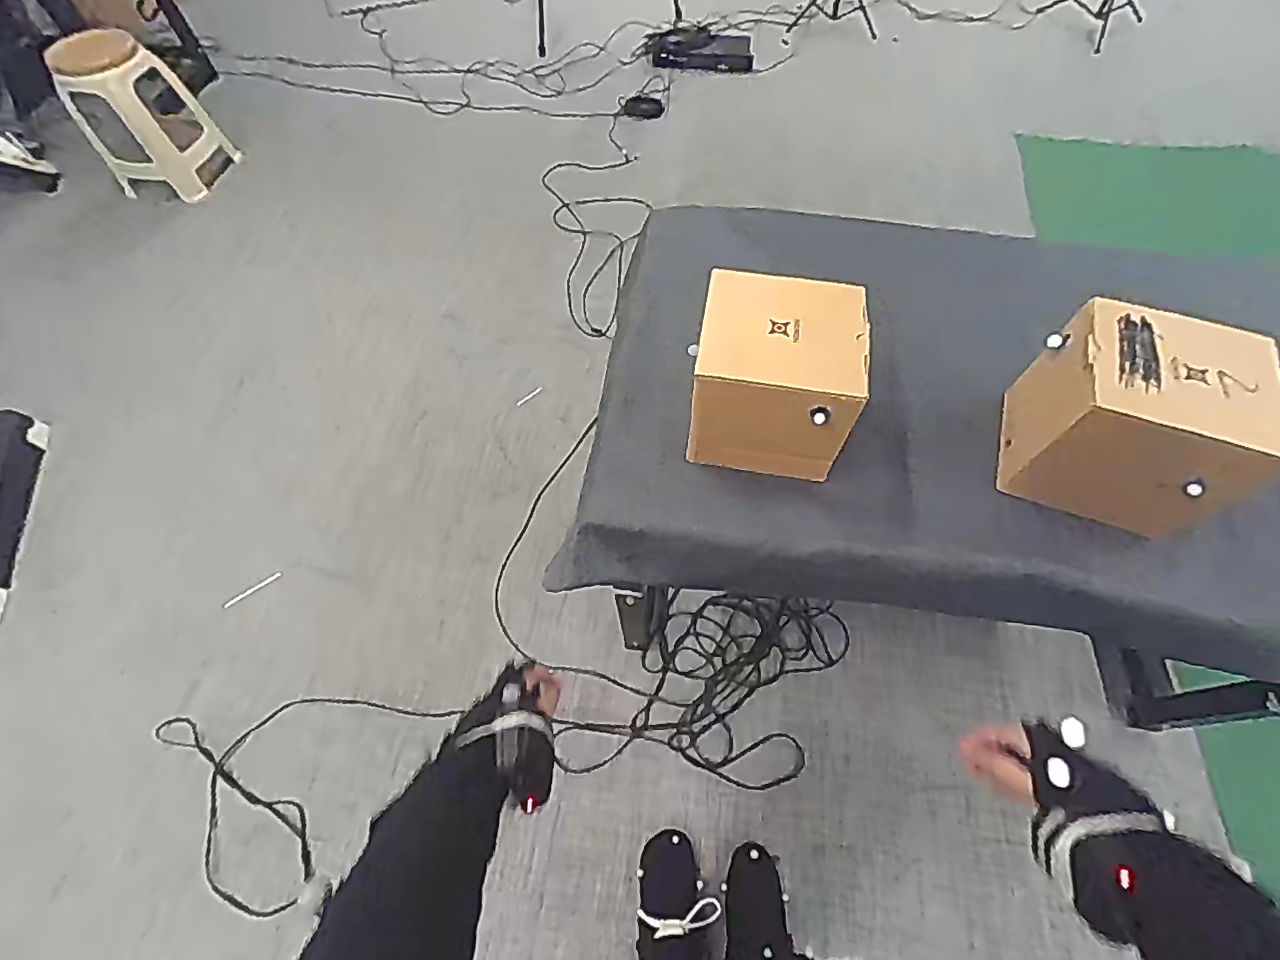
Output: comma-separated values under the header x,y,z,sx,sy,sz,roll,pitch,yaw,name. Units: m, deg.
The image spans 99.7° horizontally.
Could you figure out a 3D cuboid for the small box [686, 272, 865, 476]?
x,y,z,sx,sy,sz,roll,pitch,yaw,name
0.153,-0.120,0.649,0.179,0.176,0.168,9,60,6,small box
